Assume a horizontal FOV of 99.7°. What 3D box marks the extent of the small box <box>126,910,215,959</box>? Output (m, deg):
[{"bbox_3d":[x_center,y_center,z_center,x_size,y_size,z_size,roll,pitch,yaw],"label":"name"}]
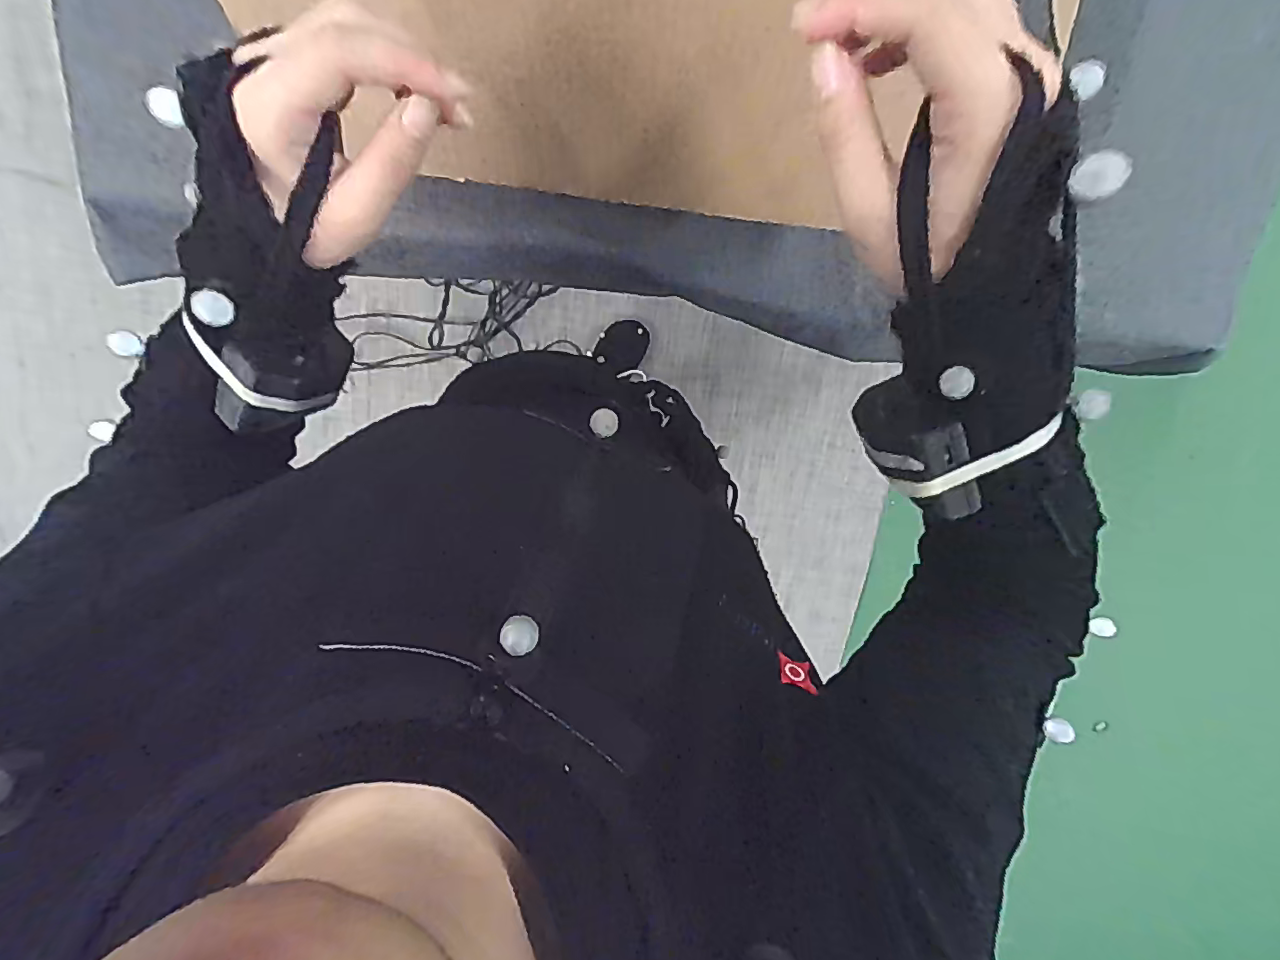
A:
[{"bbox_3d":[-1.510,1.532,1.736,0.168,0.176,0.179,13,106,-3],"label":"small box"}]
